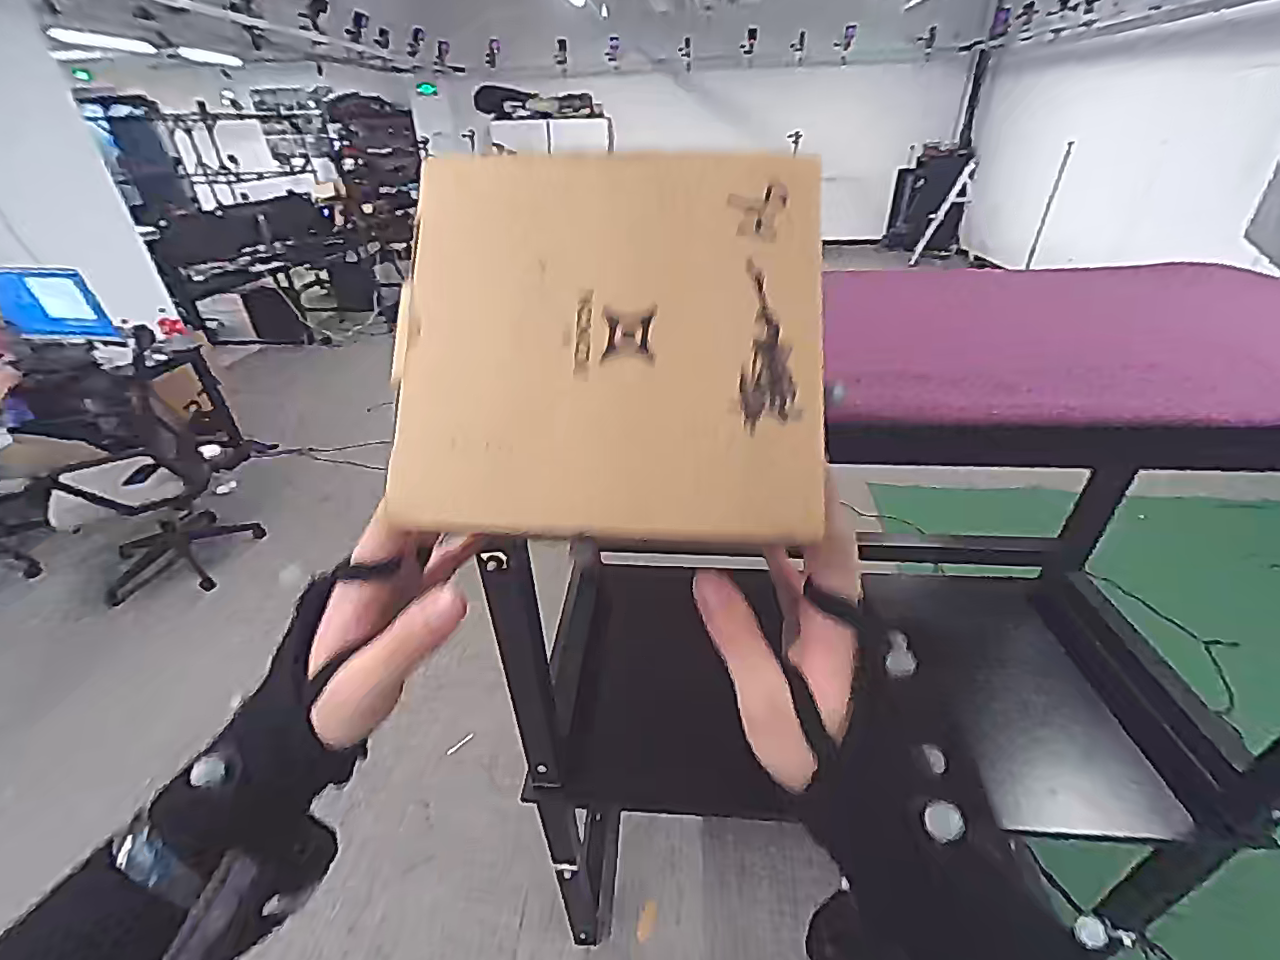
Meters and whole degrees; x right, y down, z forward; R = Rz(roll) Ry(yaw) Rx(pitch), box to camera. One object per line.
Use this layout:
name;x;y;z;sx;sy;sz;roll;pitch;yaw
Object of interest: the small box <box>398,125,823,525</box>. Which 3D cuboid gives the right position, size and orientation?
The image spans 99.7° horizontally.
small box;-0.005;-0.062;0.307;0.179;0.168;0.176;1;-8;4
